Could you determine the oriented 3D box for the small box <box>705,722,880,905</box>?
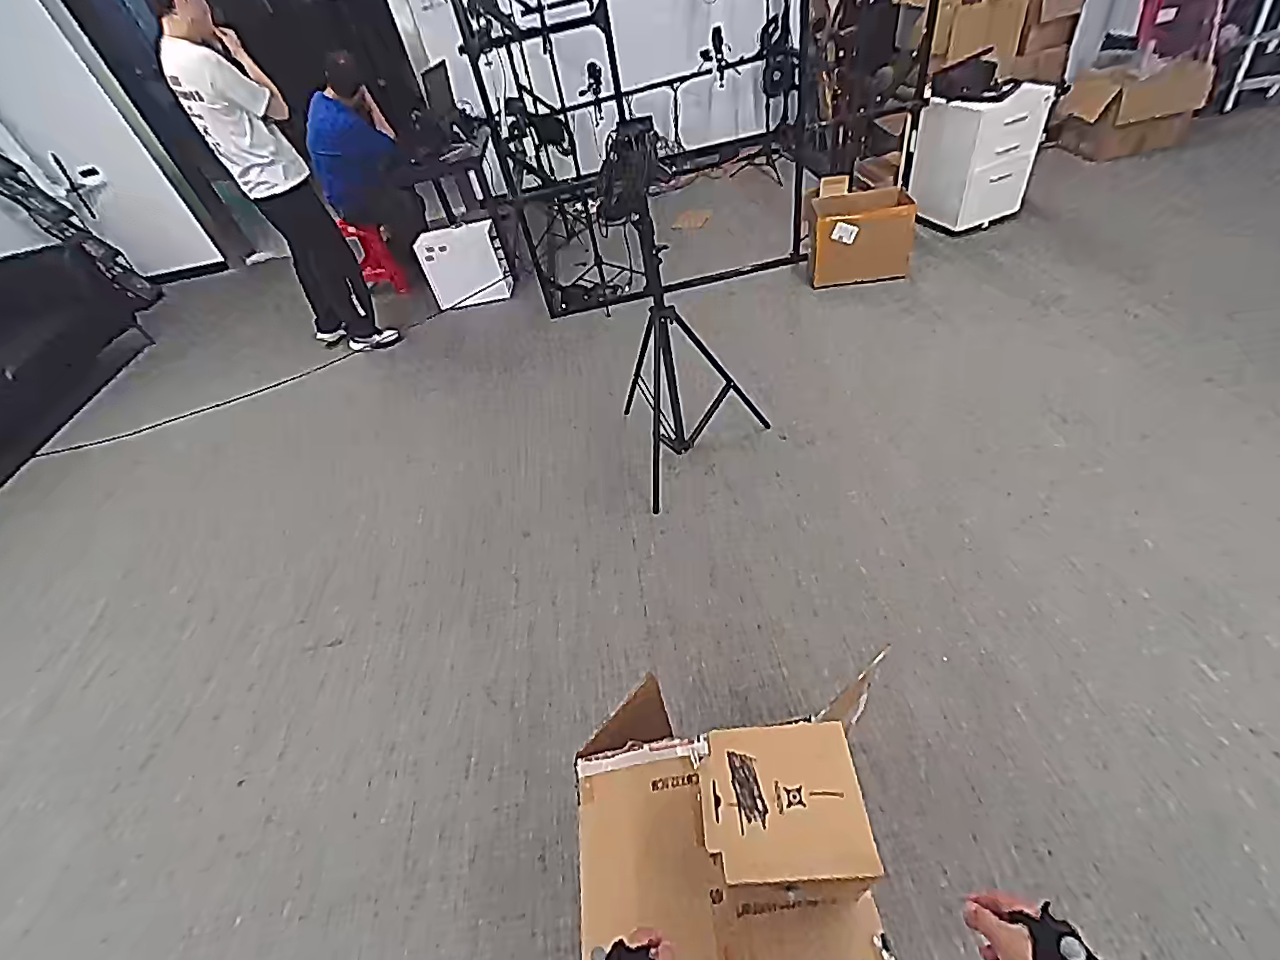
[{"bbox_3d":[0.183,0.432,0.698,0.179,0.176,0.168,-6,46,4],"label":"small box"}]
